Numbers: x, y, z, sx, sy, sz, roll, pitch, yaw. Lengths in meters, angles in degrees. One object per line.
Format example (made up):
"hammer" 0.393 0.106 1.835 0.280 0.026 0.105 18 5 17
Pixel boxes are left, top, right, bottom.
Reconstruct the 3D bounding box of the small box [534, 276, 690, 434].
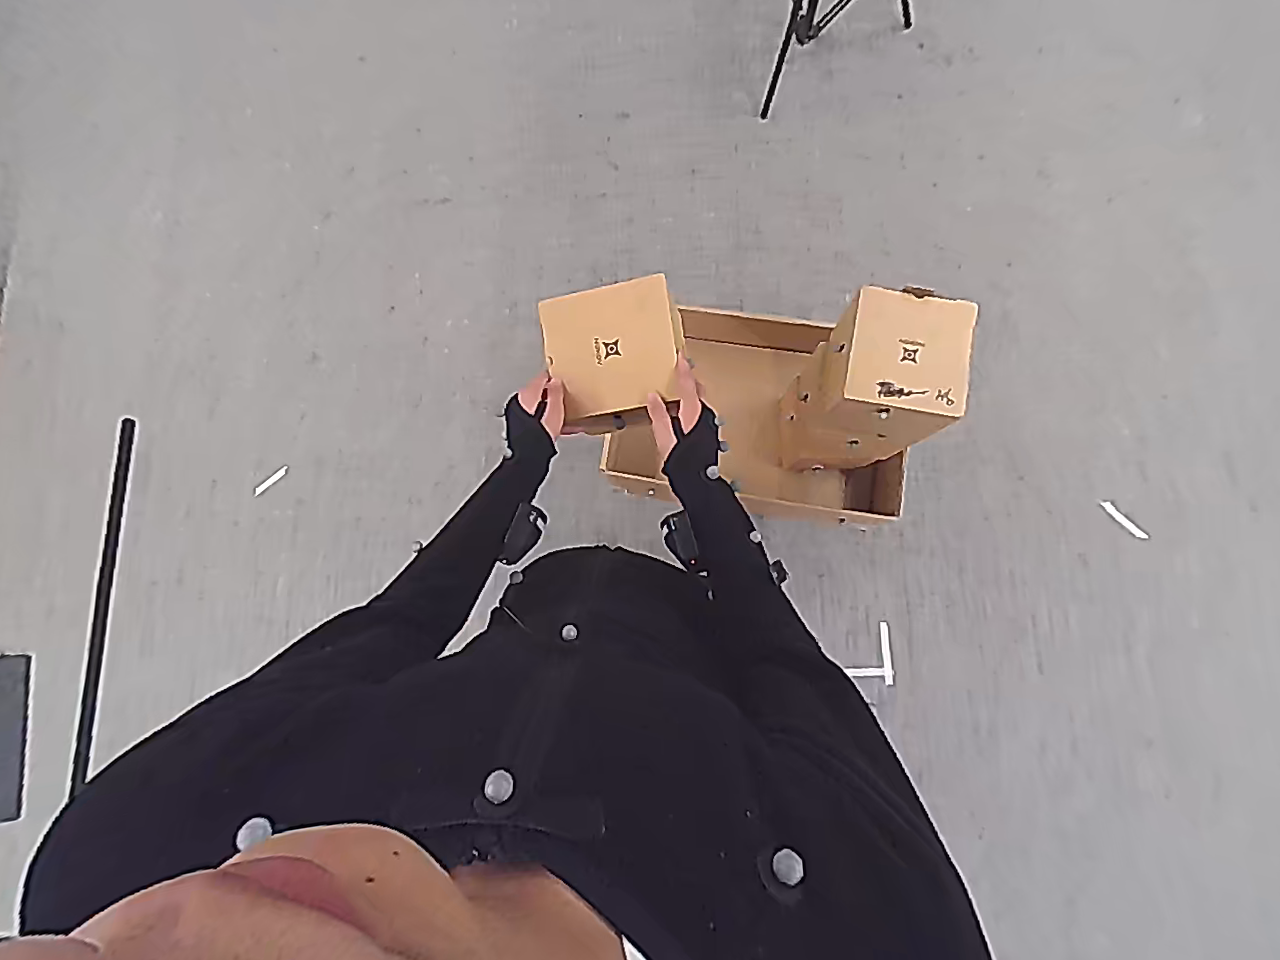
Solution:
"small box" -0.028 -0.164 0.765 0.179 0.176 0.168 -9 87 13

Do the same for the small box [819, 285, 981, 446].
"small box" 0.386 -0.166 0.828 0.168 0.176 0.179 12 82 7

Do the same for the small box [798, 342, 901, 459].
"small box" 0.395 -0.138 0.990 0.179 0.176 0.168 6 82 5
